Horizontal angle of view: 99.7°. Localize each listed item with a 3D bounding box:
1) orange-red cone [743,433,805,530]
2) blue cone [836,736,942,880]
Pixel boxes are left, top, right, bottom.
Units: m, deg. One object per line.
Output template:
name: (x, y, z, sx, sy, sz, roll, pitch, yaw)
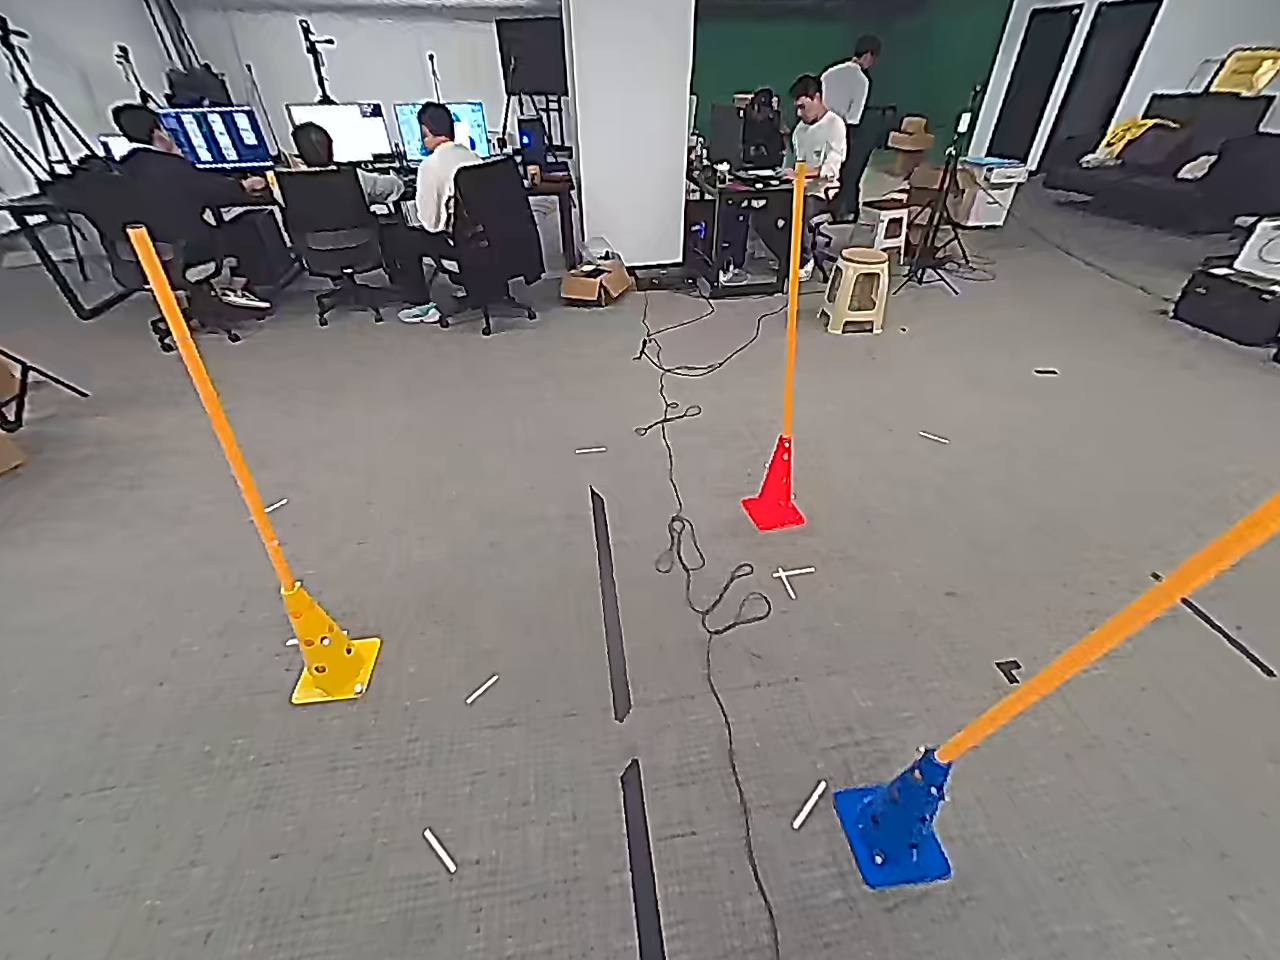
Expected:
orange-red cone: (0.516, -0.014, 2.014, 0.199, 0.360, 0.198, -10, 37, -10)
blue cone: (0.563, 0.662, 1.134, 0.193, 0.380, 0.192, -4, 36, -4)
